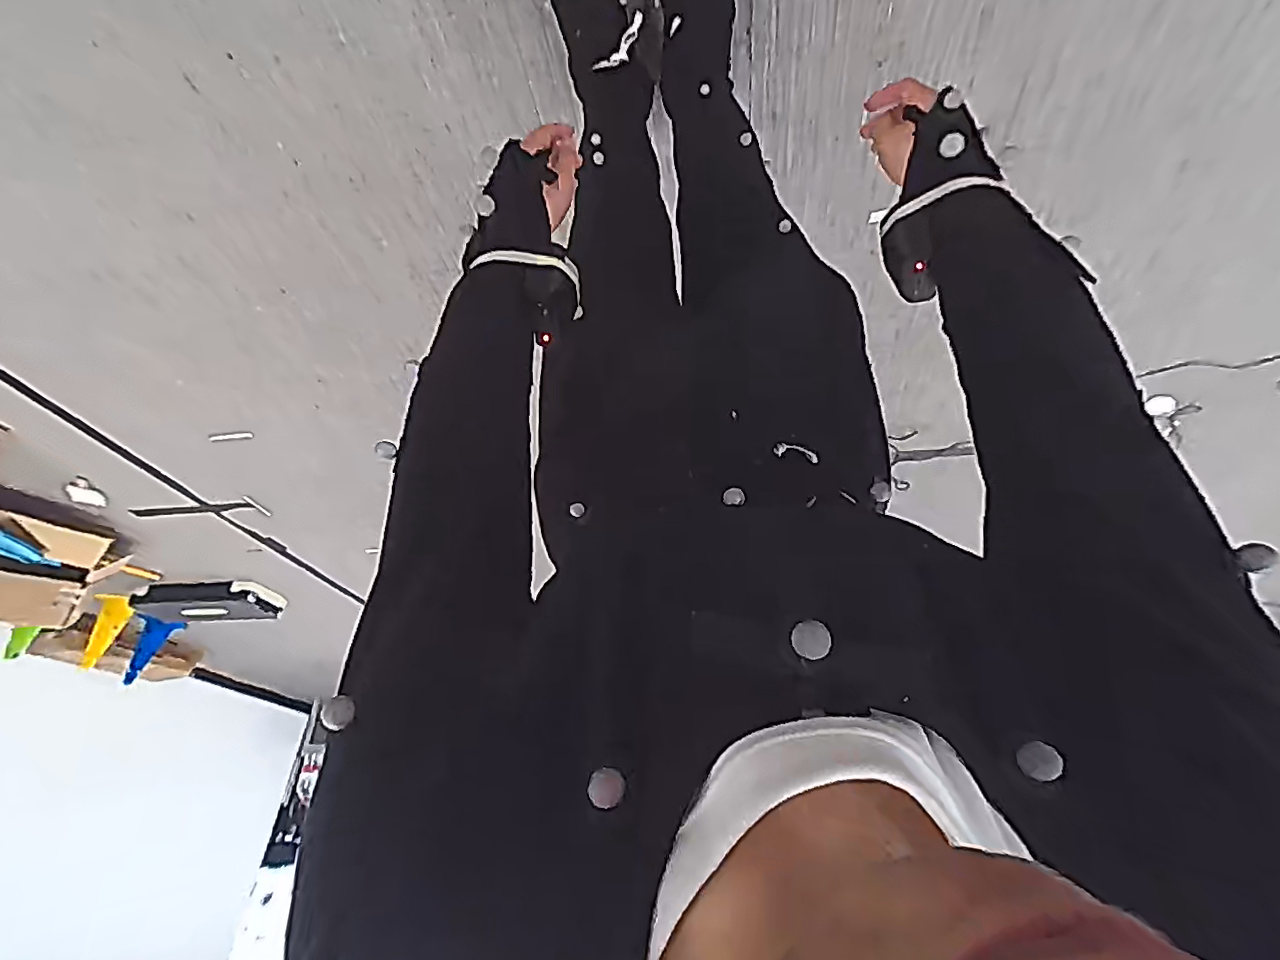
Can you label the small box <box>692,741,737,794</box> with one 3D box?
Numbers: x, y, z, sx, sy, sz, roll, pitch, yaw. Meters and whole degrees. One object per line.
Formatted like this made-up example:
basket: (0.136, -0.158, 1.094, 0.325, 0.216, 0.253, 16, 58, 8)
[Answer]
small box: (0.295, 1.148, 2.153, 0.168, 0.176, 0.179, -4, 145, 5)
